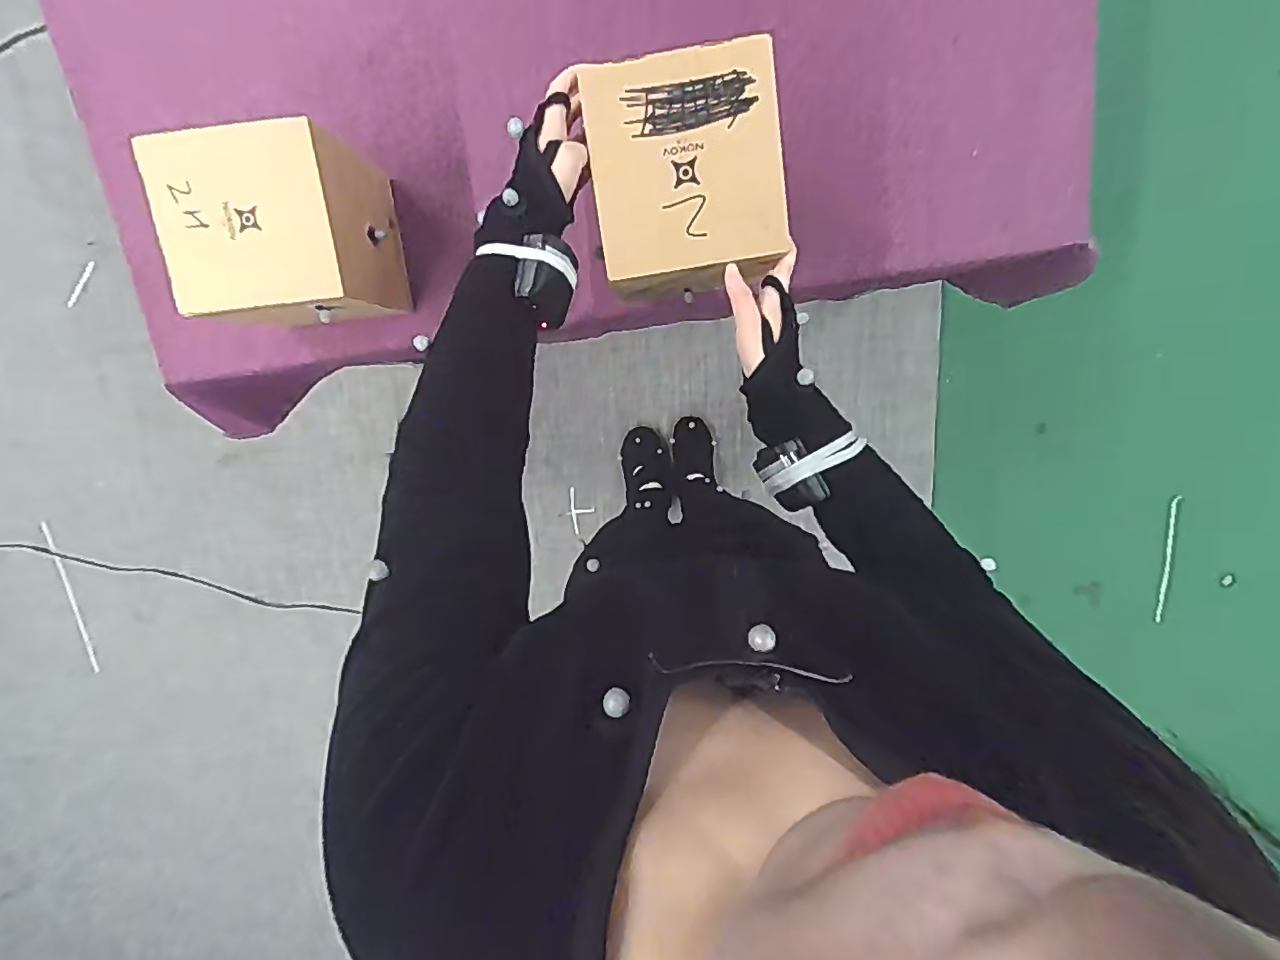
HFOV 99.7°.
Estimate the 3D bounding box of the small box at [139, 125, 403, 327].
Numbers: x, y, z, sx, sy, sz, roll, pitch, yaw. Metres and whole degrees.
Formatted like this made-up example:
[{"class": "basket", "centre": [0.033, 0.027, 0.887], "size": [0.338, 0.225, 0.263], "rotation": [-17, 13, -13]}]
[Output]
[{"class": "small box", "centre": [-0.390, -0.270, 0.613], "size": [0.179, 0.176, 0.168], "rotation": [-5, 101, 3]}]
